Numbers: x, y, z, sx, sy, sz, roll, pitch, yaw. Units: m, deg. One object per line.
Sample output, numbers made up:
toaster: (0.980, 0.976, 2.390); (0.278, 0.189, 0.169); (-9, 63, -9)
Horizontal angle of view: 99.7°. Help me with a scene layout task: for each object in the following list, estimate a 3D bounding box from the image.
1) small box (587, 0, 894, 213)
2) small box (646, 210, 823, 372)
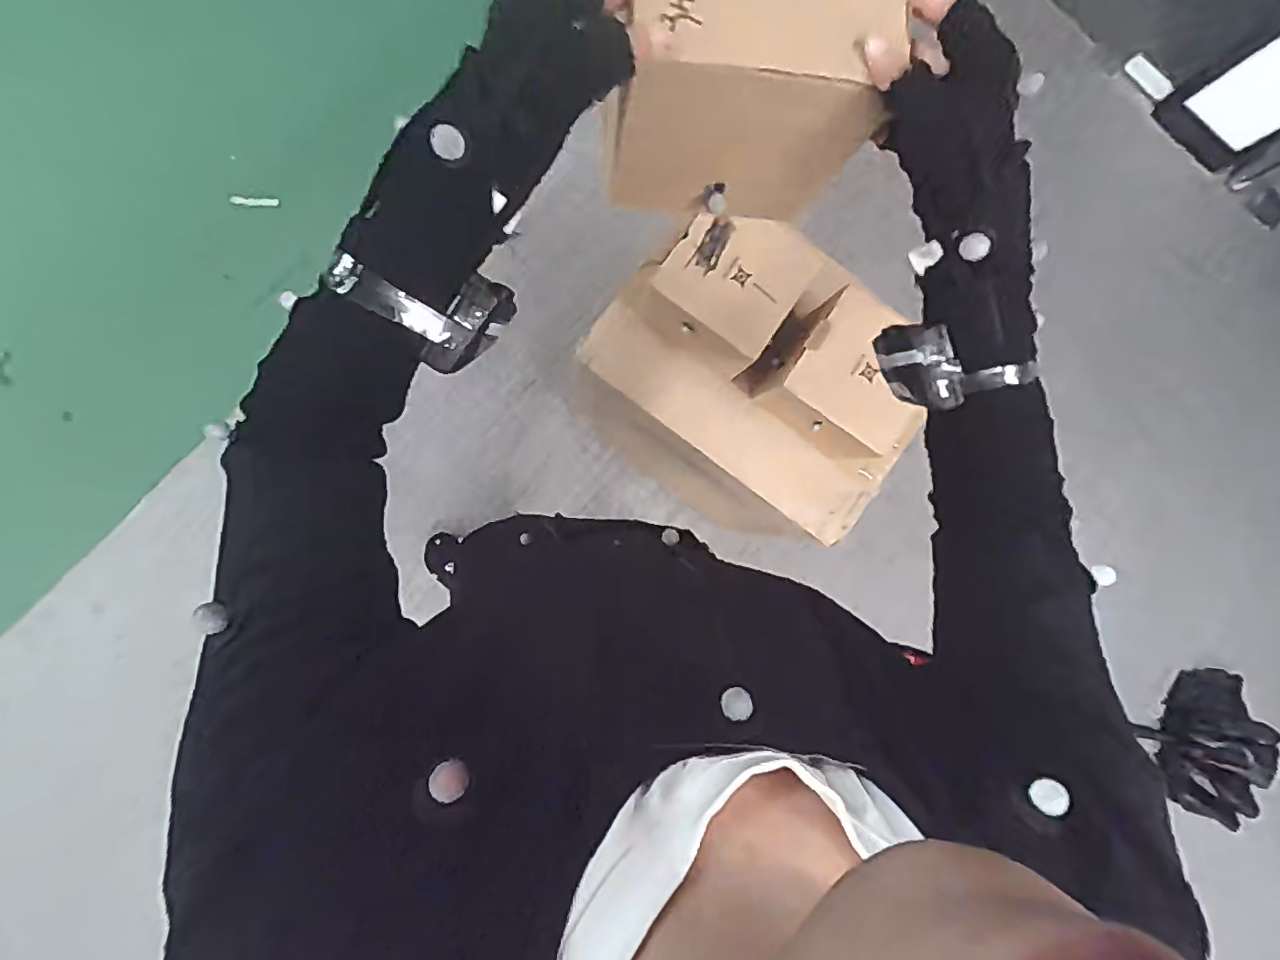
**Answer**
small box: (0.057, -0.321, 0.400); (0.179, 0.176, 0.168); (-1, 88, -11)
small box: (0.123, -0.277, 0.790); (0.179, 0.176, 0.168); (35, 89, -4)
